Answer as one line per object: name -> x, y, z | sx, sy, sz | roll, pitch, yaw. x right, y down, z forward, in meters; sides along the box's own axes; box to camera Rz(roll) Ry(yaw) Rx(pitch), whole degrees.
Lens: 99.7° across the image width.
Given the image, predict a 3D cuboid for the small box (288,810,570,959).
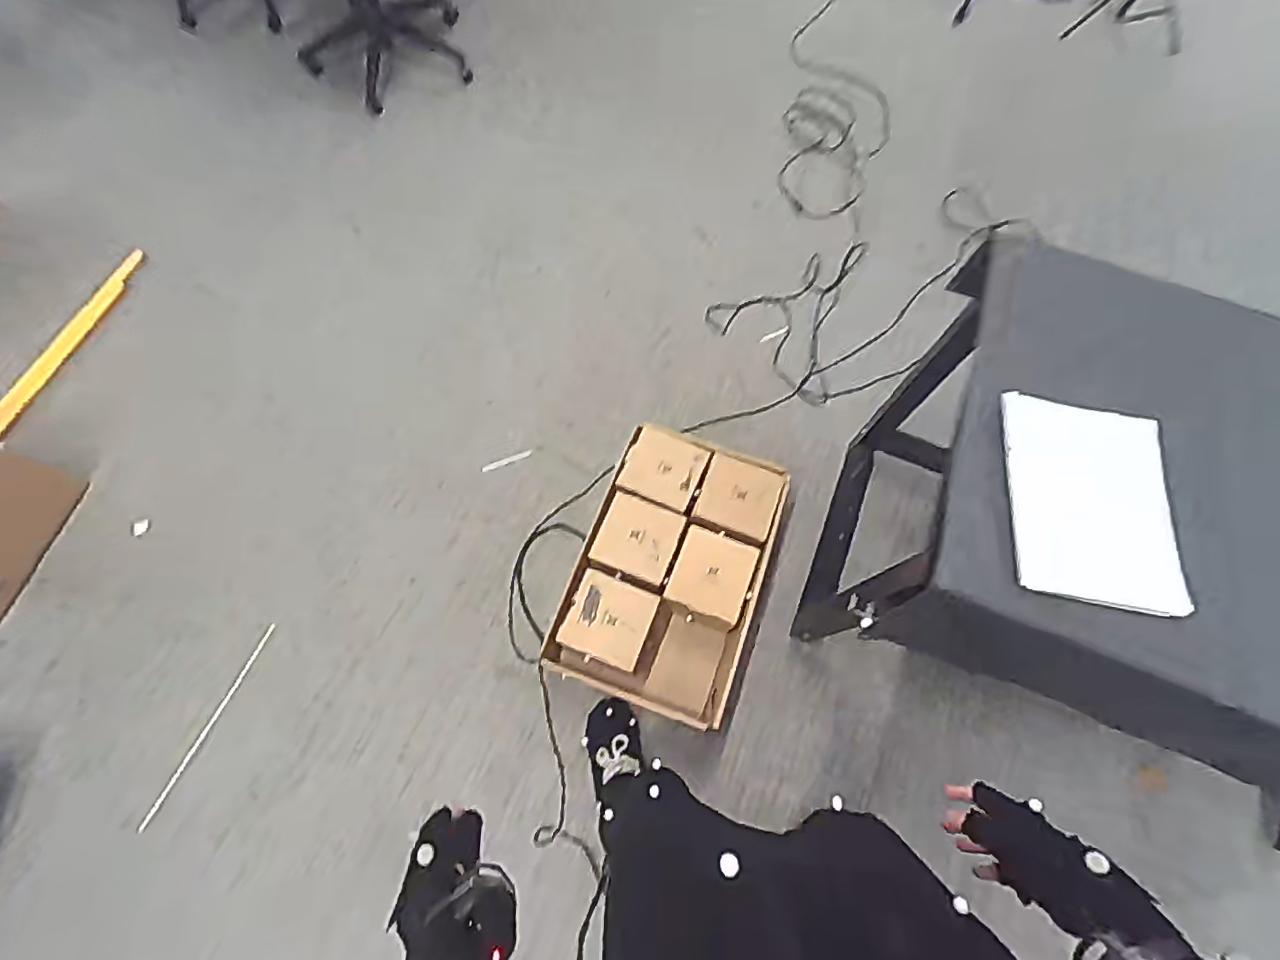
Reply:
small box -> -0.174, 0.413, 0.445 | 0.176, 0.179, 0.168 | -22, 70, -40
